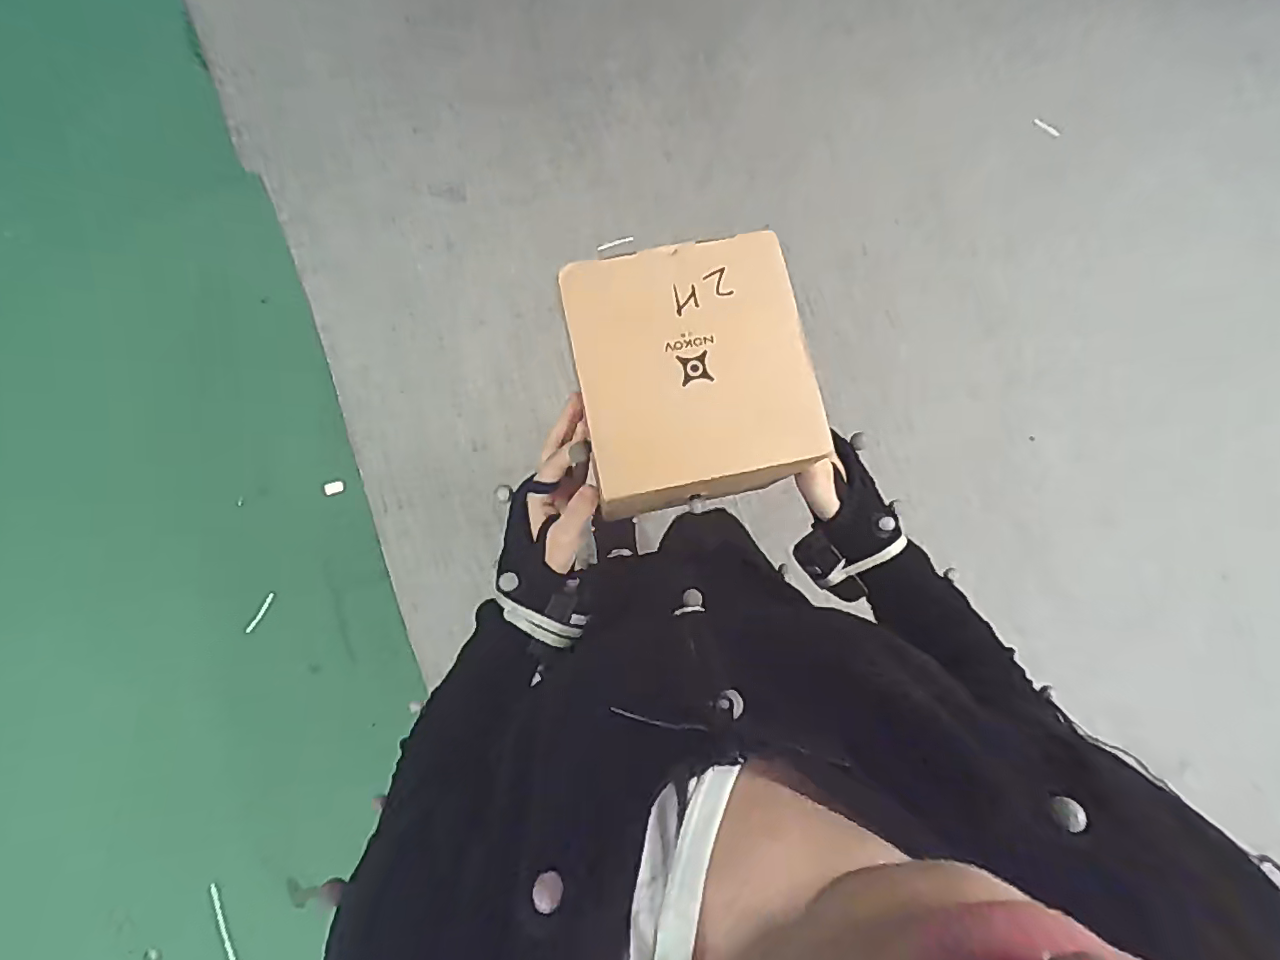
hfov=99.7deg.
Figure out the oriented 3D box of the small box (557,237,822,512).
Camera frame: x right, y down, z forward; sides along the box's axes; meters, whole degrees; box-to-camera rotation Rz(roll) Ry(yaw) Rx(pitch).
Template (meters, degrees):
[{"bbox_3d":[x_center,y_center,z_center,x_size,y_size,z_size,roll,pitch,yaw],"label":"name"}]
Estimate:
[{"bbox_3d":[0.030,-0.072,0.466,0.168,0.176,0.179,-11,81,-6],"label":"small box"}]
